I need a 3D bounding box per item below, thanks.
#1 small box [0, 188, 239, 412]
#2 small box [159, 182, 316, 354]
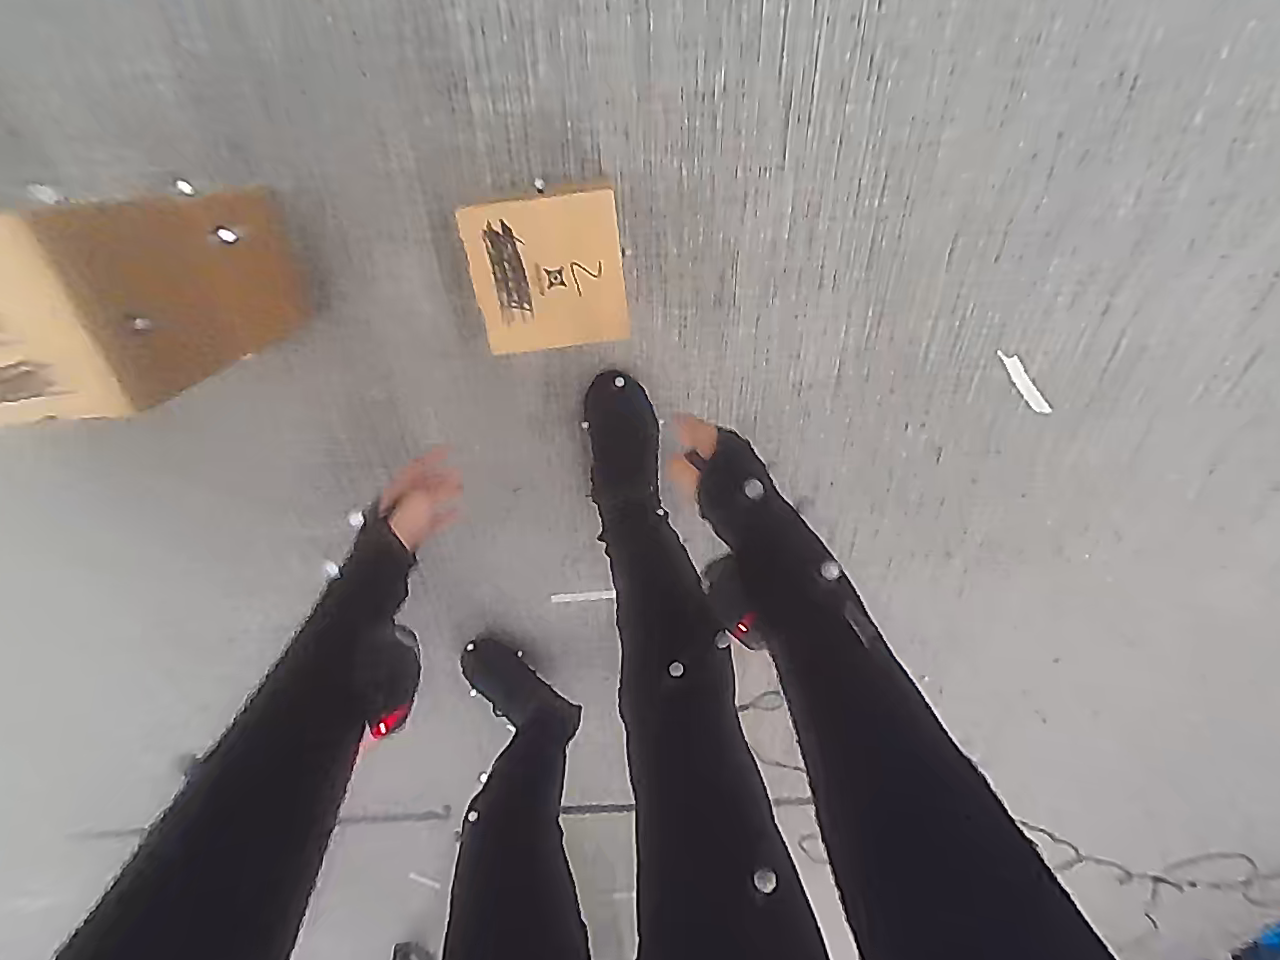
[{"bbox_3d":[-0.558,-0.185,0.542,0.168,0.176,0.179,-4,121,0],"label":"small box"},{"bbox_3d":[-0.552,-0.268,0.684,0.168,0.176,0.179,-4,122,0],"label":"small box"}]
